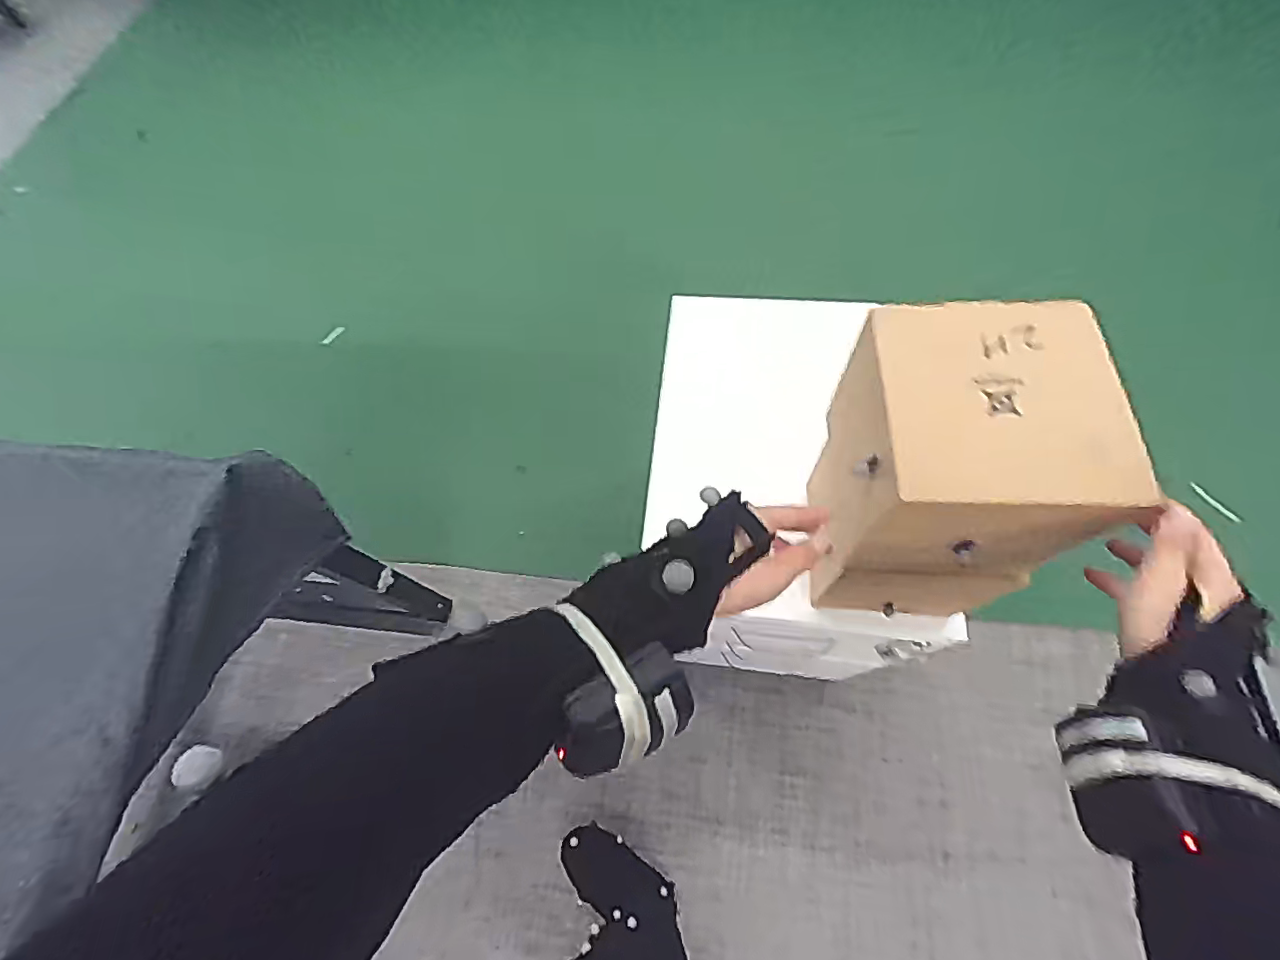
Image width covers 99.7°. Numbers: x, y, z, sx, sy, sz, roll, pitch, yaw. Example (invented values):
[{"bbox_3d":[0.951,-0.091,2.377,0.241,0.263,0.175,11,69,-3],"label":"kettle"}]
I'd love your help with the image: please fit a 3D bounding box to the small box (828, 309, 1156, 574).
[{"bbox_3d":[0.270,-0.023,0.468,0.168,0.176,0.179,2,65,5],"label":"small box"}]
